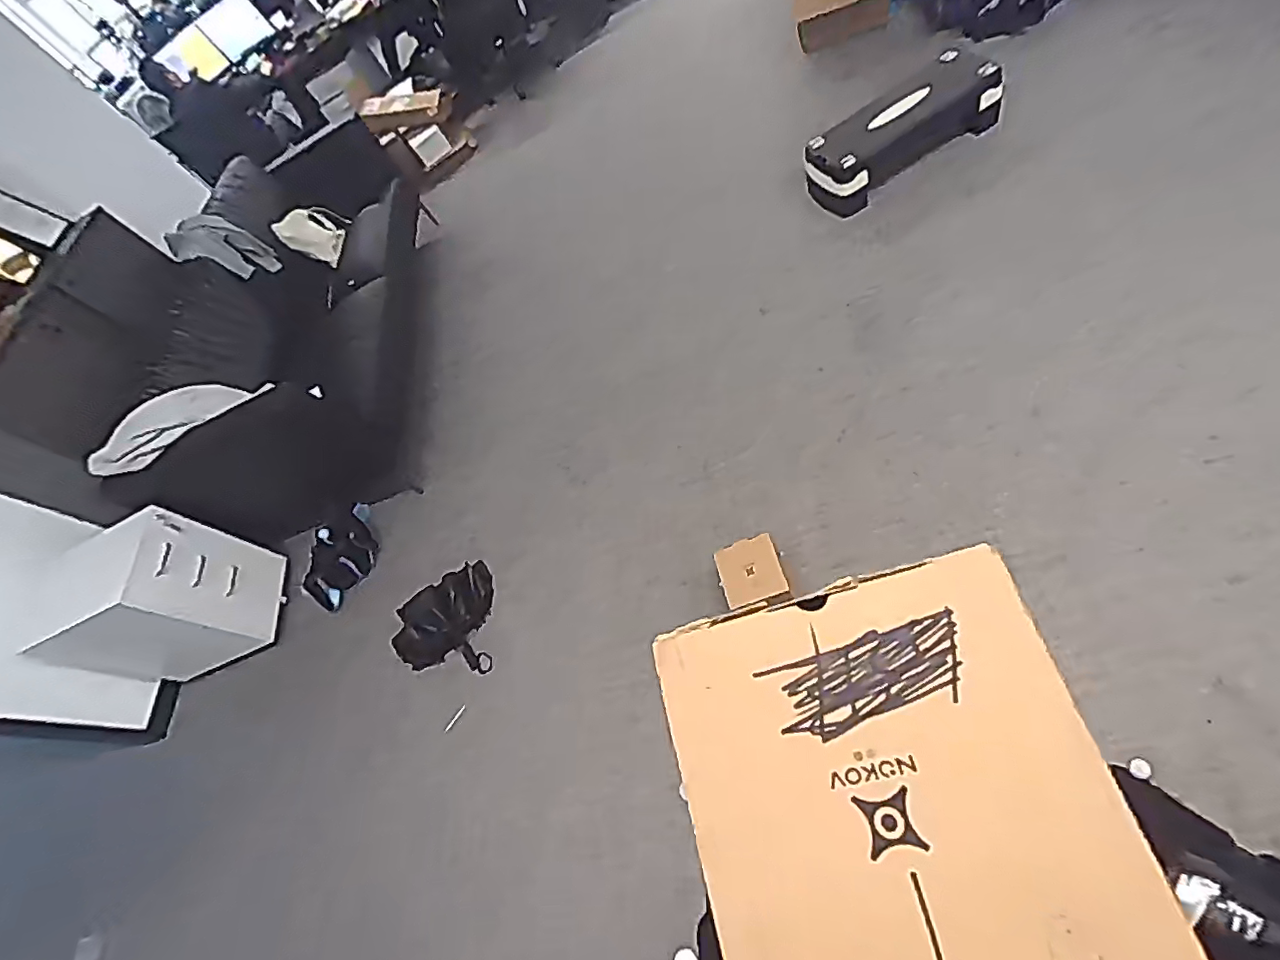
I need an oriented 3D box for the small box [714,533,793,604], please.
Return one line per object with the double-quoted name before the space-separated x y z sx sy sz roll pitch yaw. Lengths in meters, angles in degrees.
"small box" 0.327 0.279 1.519 0.168 0.176 0.179 -24 55 14
